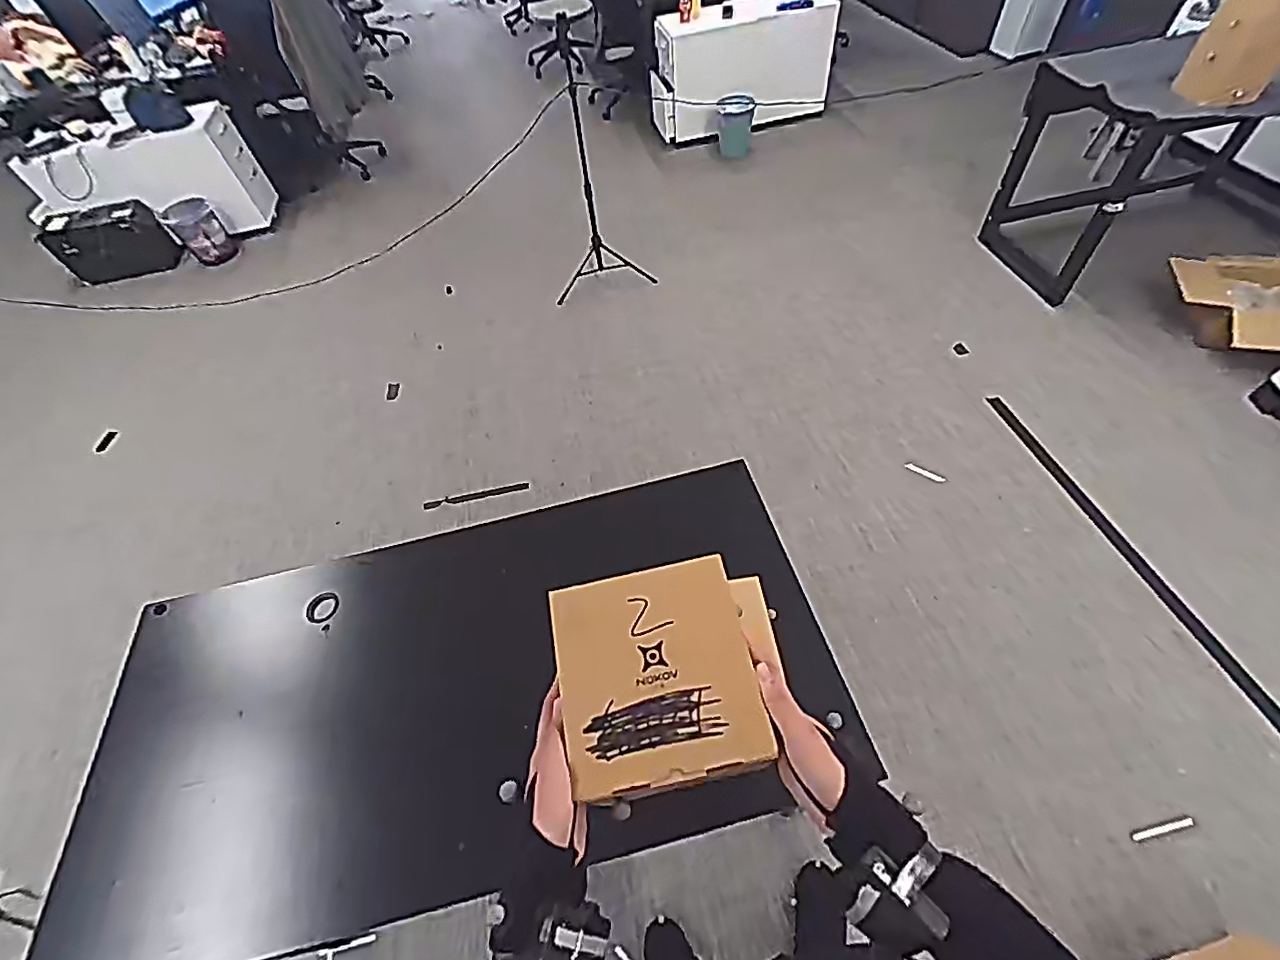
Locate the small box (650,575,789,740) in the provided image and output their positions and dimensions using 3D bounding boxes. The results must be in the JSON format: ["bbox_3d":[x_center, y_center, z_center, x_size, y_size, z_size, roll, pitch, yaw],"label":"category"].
[{"bbox_3d":[0.109,0.263,0.793,0.168,0.176,0.179,-9,54,2],"label":"small box"}]
